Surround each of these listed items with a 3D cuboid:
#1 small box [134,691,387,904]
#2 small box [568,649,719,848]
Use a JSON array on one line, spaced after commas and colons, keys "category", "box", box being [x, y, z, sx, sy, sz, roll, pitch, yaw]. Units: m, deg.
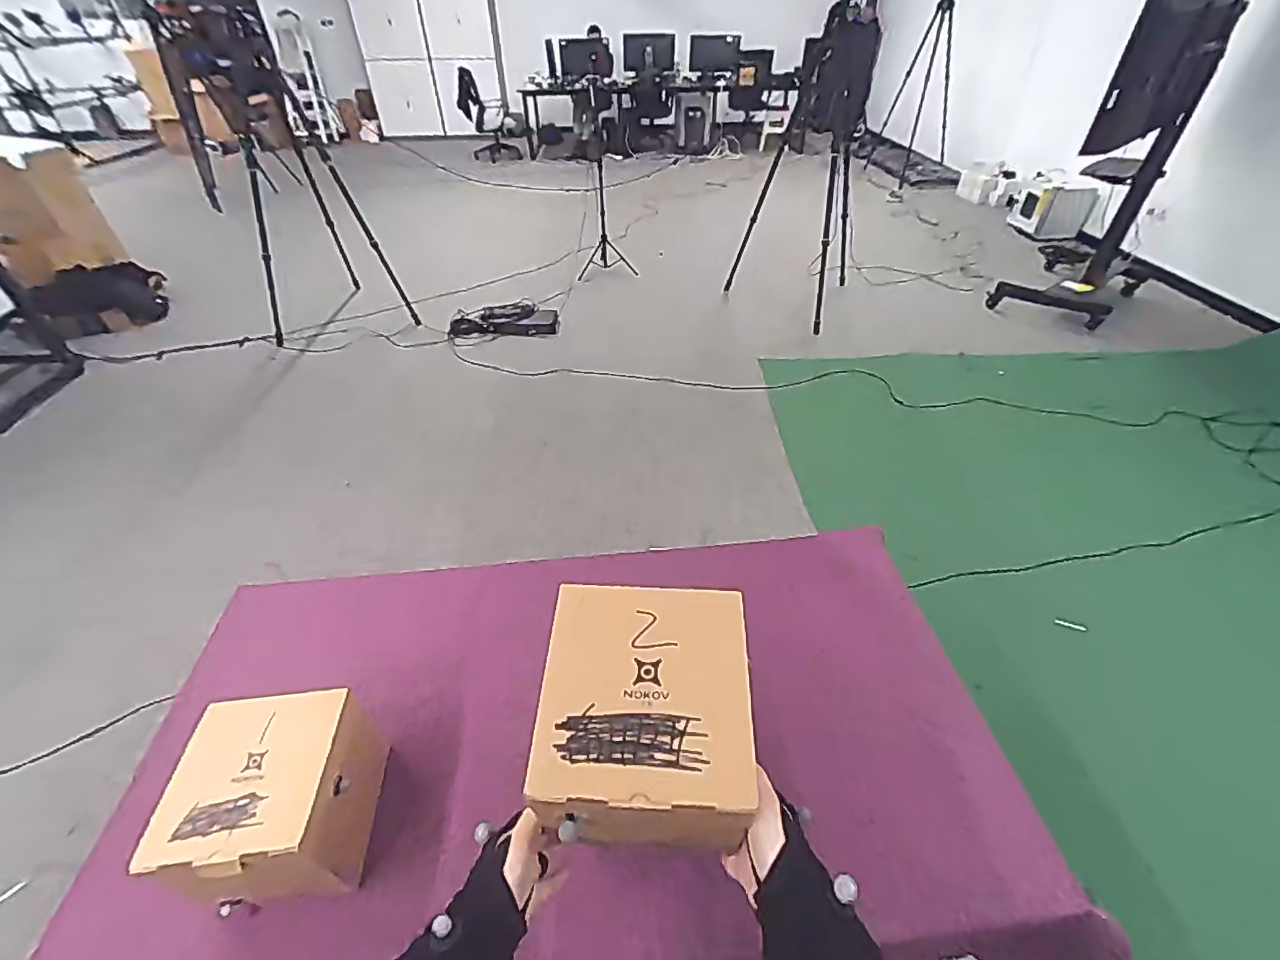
[{"category": "small box", "box": [-0.429, 0.385, 0.654, 0.168, 0.176, 0.179, -5, 40, -5]}, {"category": "small box", "box": [0.002, 0.341, 0.691, 0.168, 0.176, 0.179, -3, 41, -1]}]
